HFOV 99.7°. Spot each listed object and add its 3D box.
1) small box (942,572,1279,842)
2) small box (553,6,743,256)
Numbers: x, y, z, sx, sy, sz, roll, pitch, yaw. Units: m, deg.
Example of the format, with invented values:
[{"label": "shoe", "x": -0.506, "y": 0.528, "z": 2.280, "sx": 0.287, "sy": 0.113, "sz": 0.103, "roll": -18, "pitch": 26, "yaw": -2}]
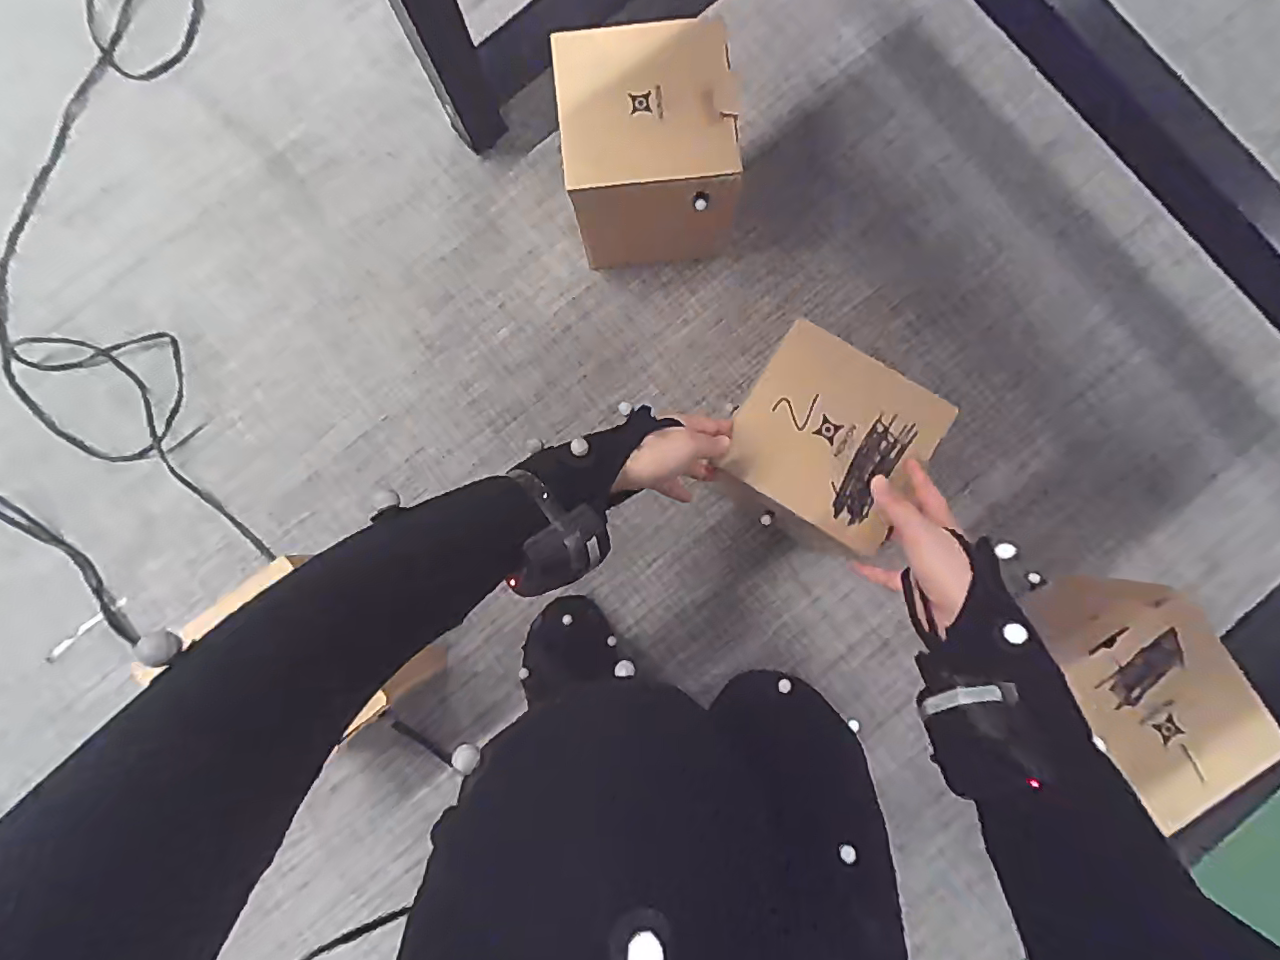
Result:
[{"label": "small box", "x": 0.461, "y": 0.209, "z": 0.560, "sx": 0.168, "sy": 0.176, "sz": 0.179, "roll": -33, "pitch": 88, "yaw": -1}, {"label": "small box", "x": 0.009, "y": -0.370, "z": 0.605, "sx": 0.179, "sy": 0.176, "sz": 0.168, "roll": -6, "pitch": 86, "yaw": 0}]
